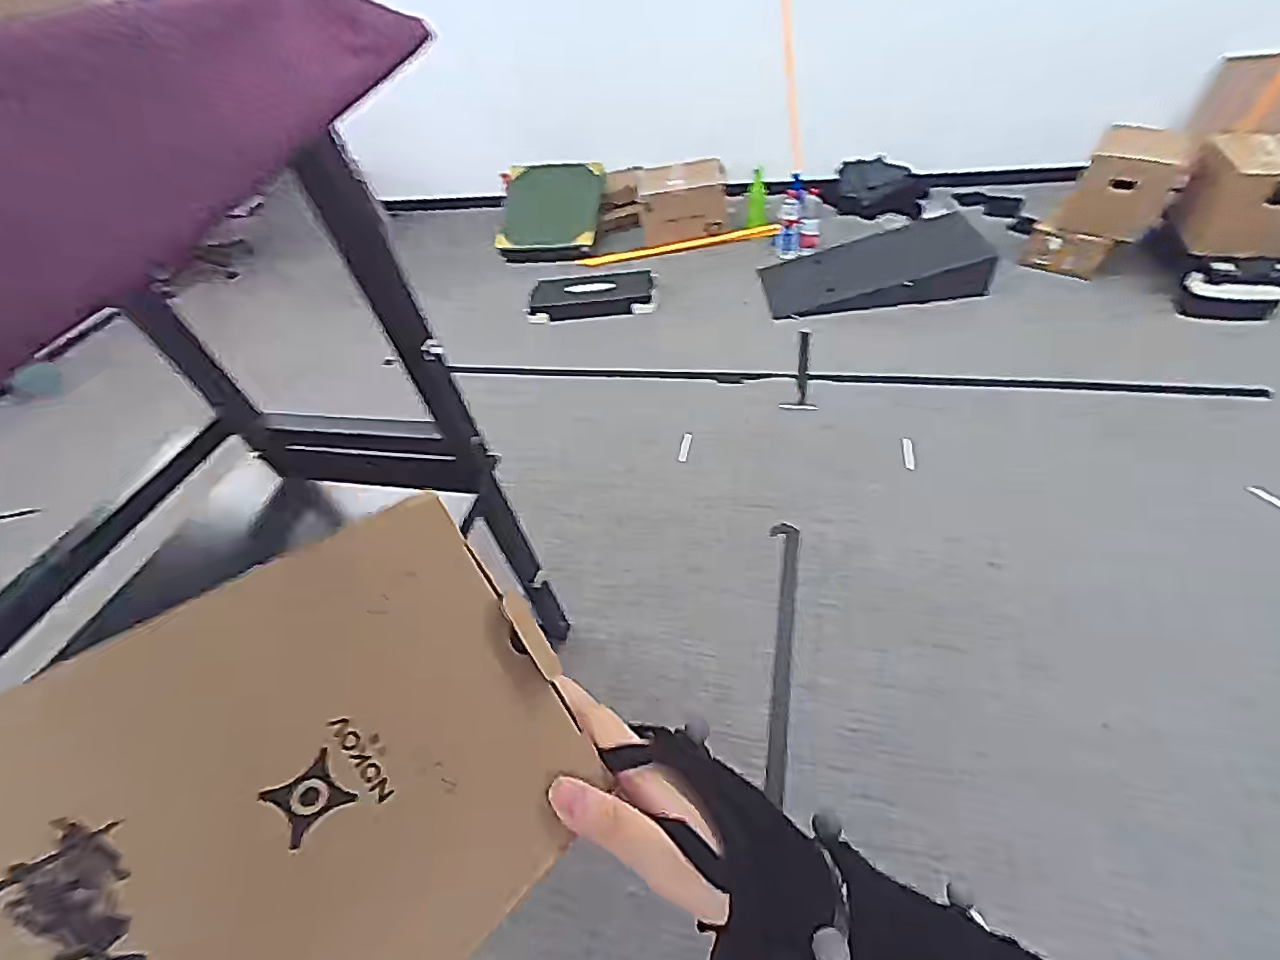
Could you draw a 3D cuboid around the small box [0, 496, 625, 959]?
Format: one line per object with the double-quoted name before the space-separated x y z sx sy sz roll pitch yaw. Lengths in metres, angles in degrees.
"small box" -0.146 0.133 0.263 0.179 0.176 0.168 -29 87 -37
